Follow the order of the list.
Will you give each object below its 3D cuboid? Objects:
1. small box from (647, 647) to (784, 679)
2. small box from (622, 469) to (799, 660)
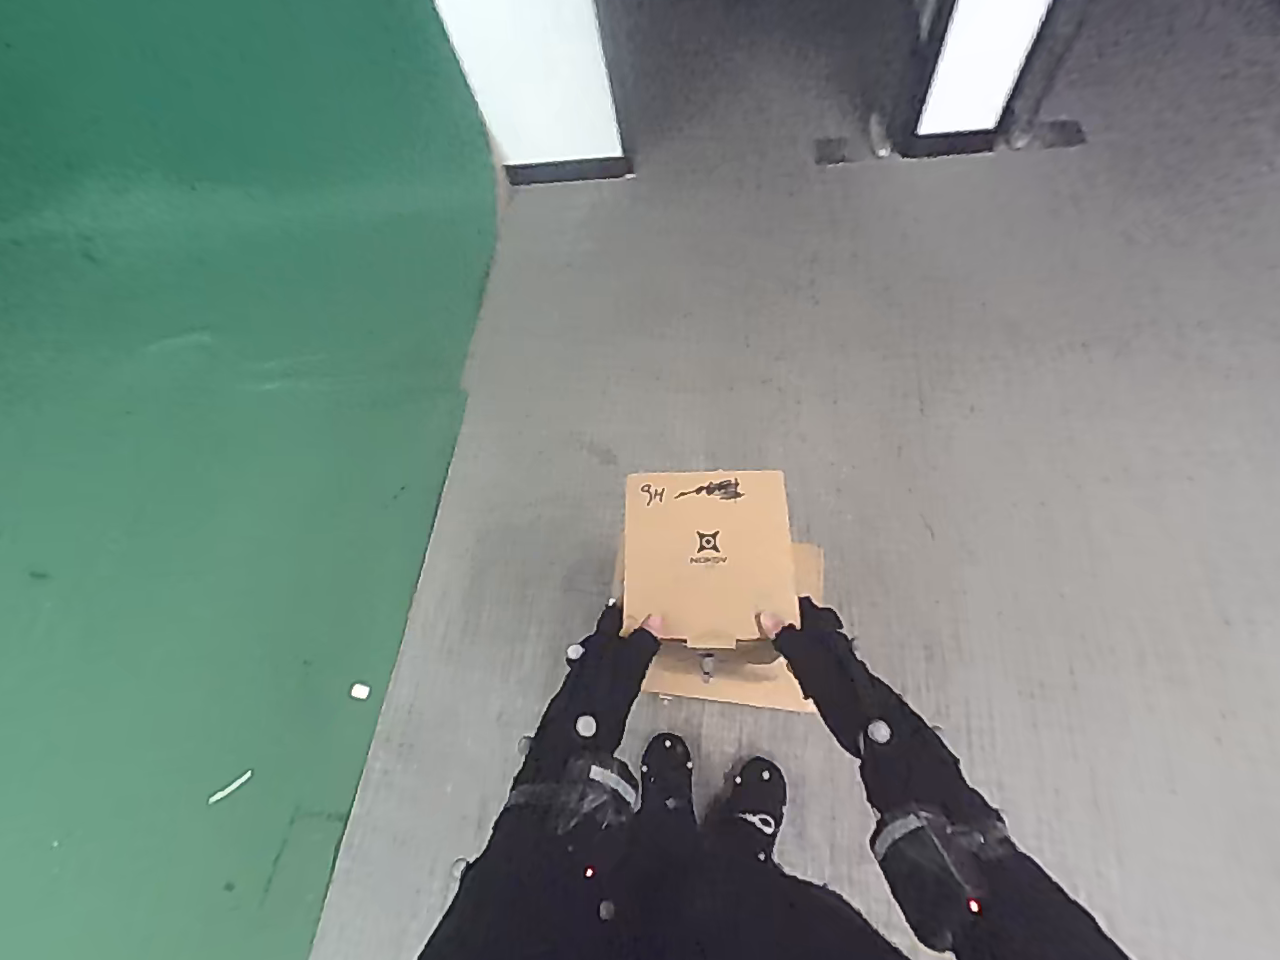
[{"bbox_3d":[0.117,0.197,0.794,0.179,0.176,0.168,2,68,13],"label":"small box"},{"bbox_3d":[0.072,0.104,0.601,0.168,0.176,0.179,-3,65,4],"label":"small box"}]
